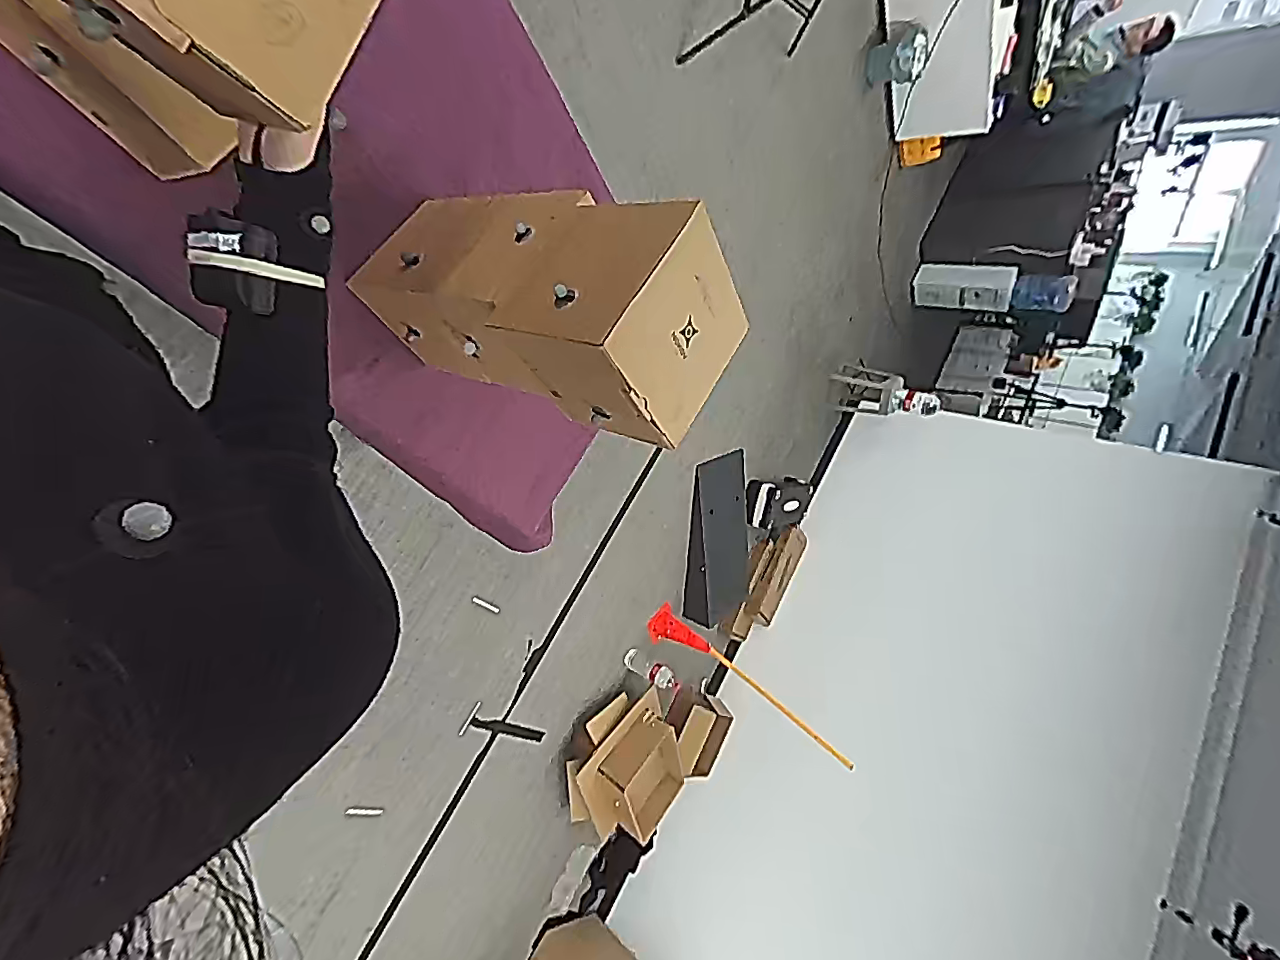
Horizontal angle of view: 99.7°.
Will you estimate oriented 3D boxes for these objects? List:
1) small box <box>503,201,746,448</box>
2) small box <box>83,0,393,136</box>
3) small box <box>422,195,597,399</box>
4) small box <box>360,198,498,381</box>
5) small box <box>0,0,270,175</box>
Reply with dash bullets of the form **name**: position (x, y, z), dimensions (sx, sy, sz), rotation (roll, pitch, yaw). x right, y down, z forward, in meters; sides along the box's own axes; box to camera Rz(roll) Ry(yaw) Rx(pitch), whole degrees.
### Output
- **small box**: position (-0.017, -0.164, 0.575), dimensions (0.179, 0.176, 0.168), rotation (-60, 143, -15)
- **small box**: position (-0.249, -0.336, 0.299), dimensions (0.179, 0.176, 0.168), rotation (-60, 148, 3)
- **small box**: position (-0.131, -0.227, 0.674), dimensions (0.179, 0.176, 0.168), rotation (-57, 142, -17)
- **small box**: position (-0.260, -0.269, 0.767), dimensions (0.179, 0.176, 0.168), rotation (-58, 143, -18)
- **small box**: position (-0.430, -0.403, 0.485), dimensions (0.179, 0.176, 0.168), rotation (-60, 143, -17)
